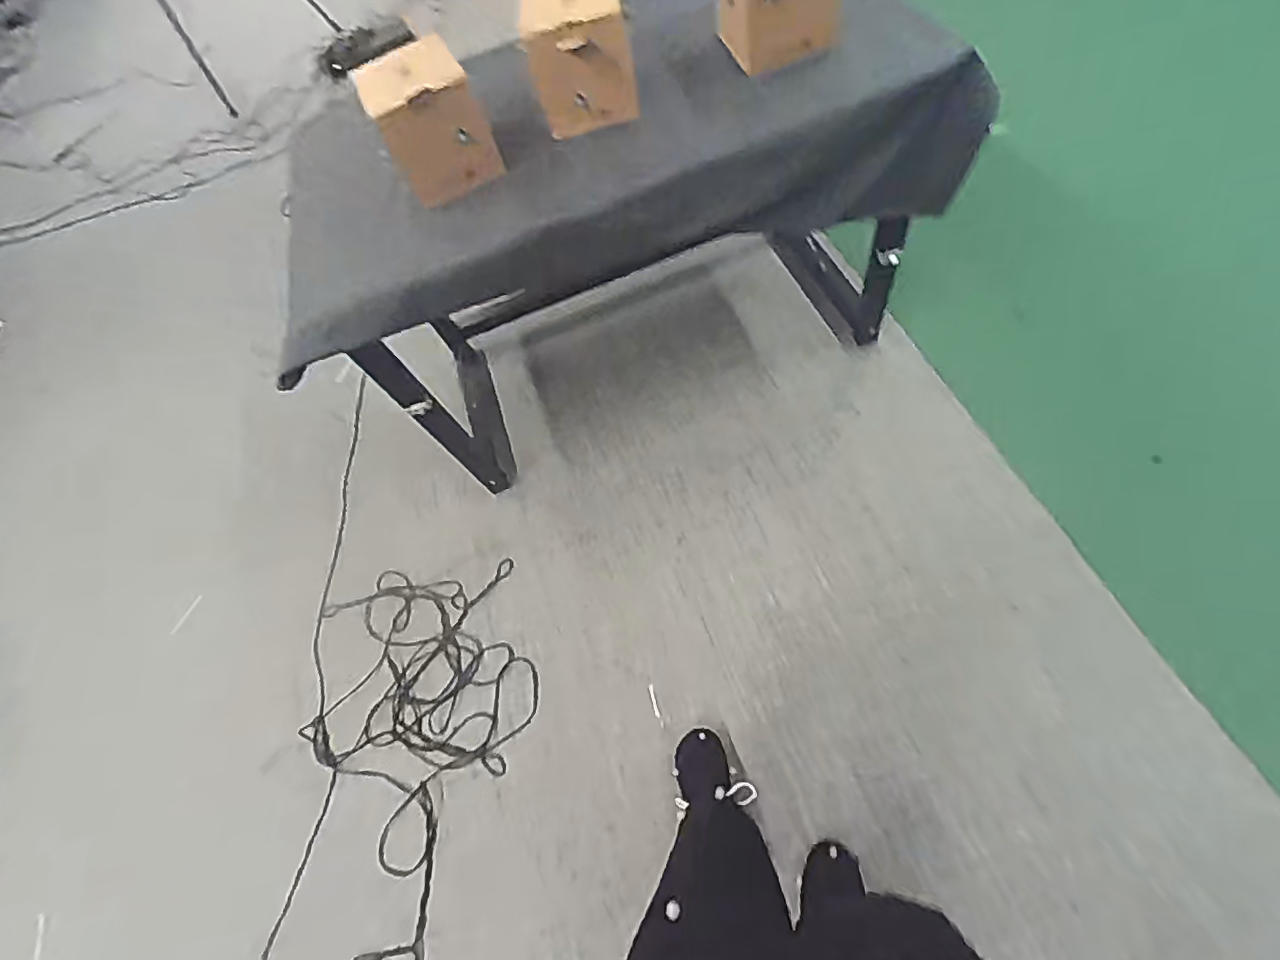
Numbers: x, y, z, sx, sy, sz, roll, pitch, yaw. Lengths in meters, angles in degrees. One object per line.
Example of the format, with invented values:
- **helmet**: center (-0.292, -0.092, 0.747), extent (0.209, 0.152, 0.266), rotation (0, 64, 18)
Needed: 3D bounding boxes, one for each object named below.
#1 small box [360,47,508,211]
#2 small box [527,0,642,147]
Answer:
- **small box**: center (-0.356, -0.609, 0.955), extent (0.168, 0.176, 0.179), rotation (-27, 60, -4)
- **small box**: center (-0.094, -0.740, 0.968), extent (0.168, 0.176, 0.179), rotation (-9, 62, 7)
